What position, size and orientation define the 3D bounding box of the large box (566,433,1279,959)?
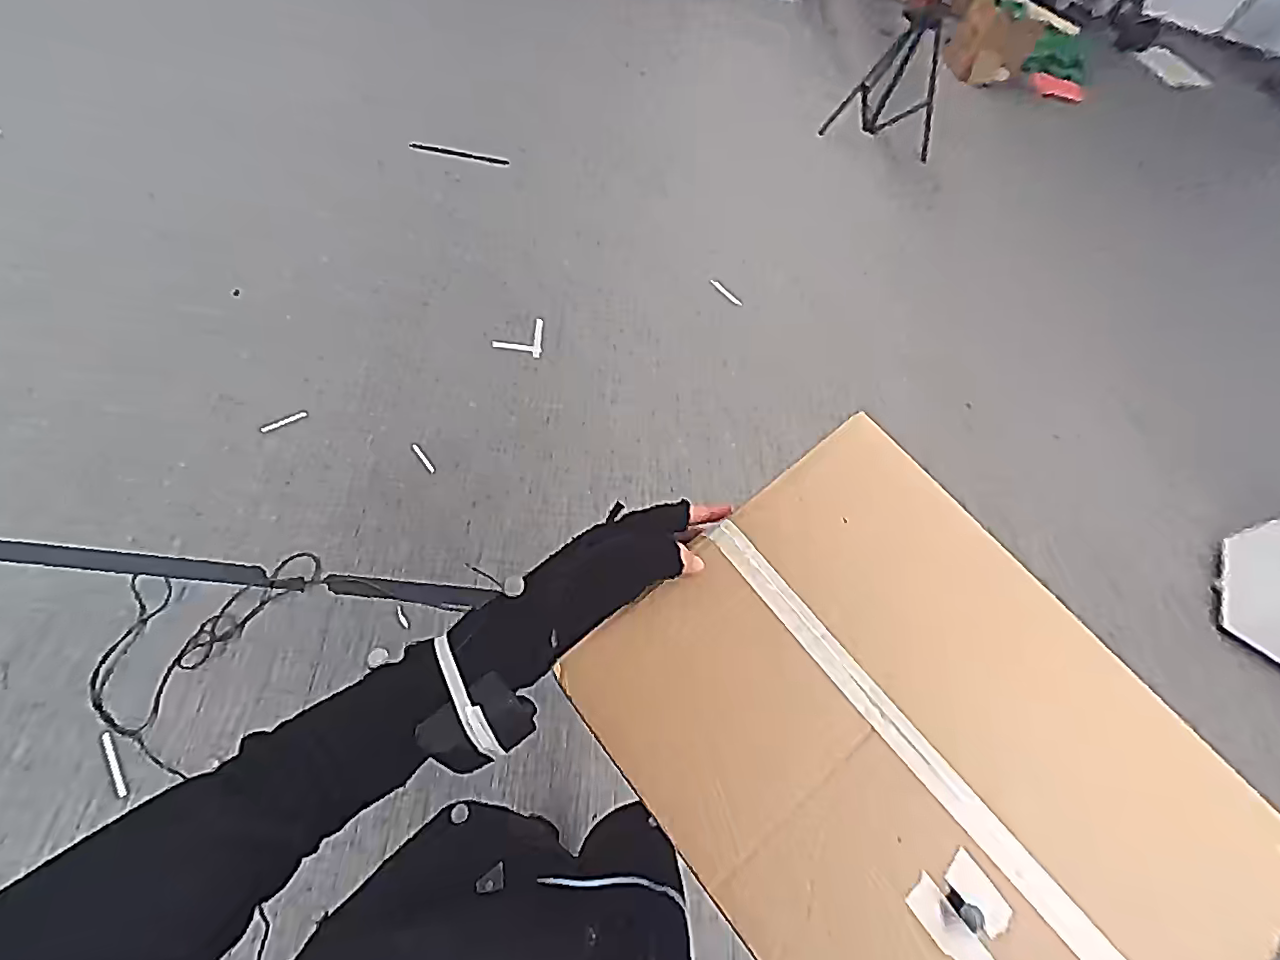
[{"bbox_3d":[0.180,0.238,0.511,0.320,0.320,0.408,-37,76,-12],"label":"large box"}]
